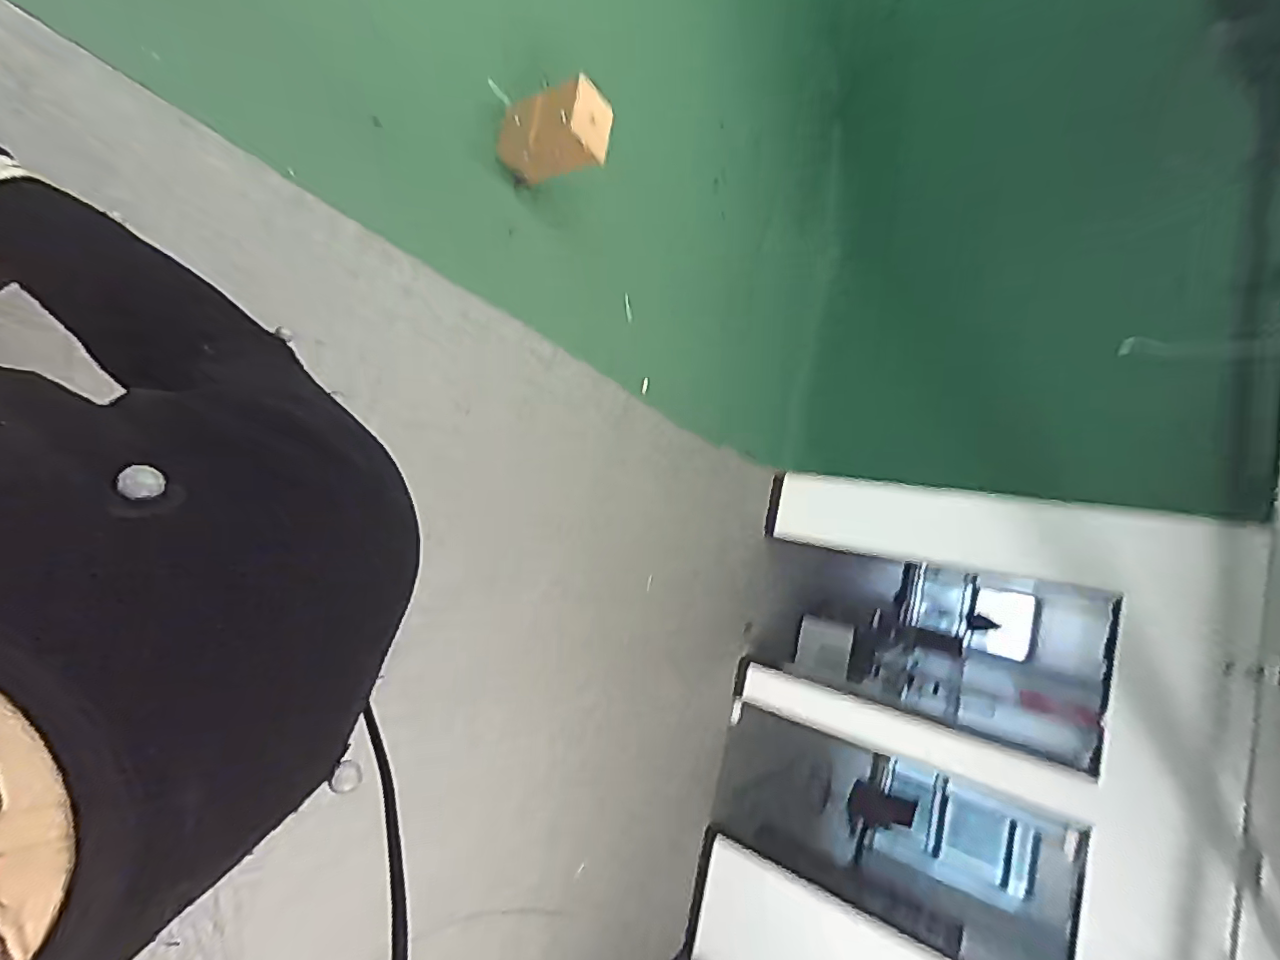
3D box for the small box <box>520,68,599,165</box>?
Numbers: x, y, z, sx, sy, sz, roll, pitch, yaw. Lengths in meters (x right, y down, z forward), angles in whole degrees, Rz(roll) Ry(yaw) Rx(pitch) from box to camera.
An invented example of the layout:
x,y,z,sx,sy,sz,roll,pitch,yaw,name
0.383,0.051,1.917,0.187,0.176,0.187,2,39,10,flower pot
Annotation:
x,y,z,sx,sy,sz,roll,pitch,yaw,name
-0.254,-1.136,1.702,0.168,0.176,0.179,15,84,-57,small box
